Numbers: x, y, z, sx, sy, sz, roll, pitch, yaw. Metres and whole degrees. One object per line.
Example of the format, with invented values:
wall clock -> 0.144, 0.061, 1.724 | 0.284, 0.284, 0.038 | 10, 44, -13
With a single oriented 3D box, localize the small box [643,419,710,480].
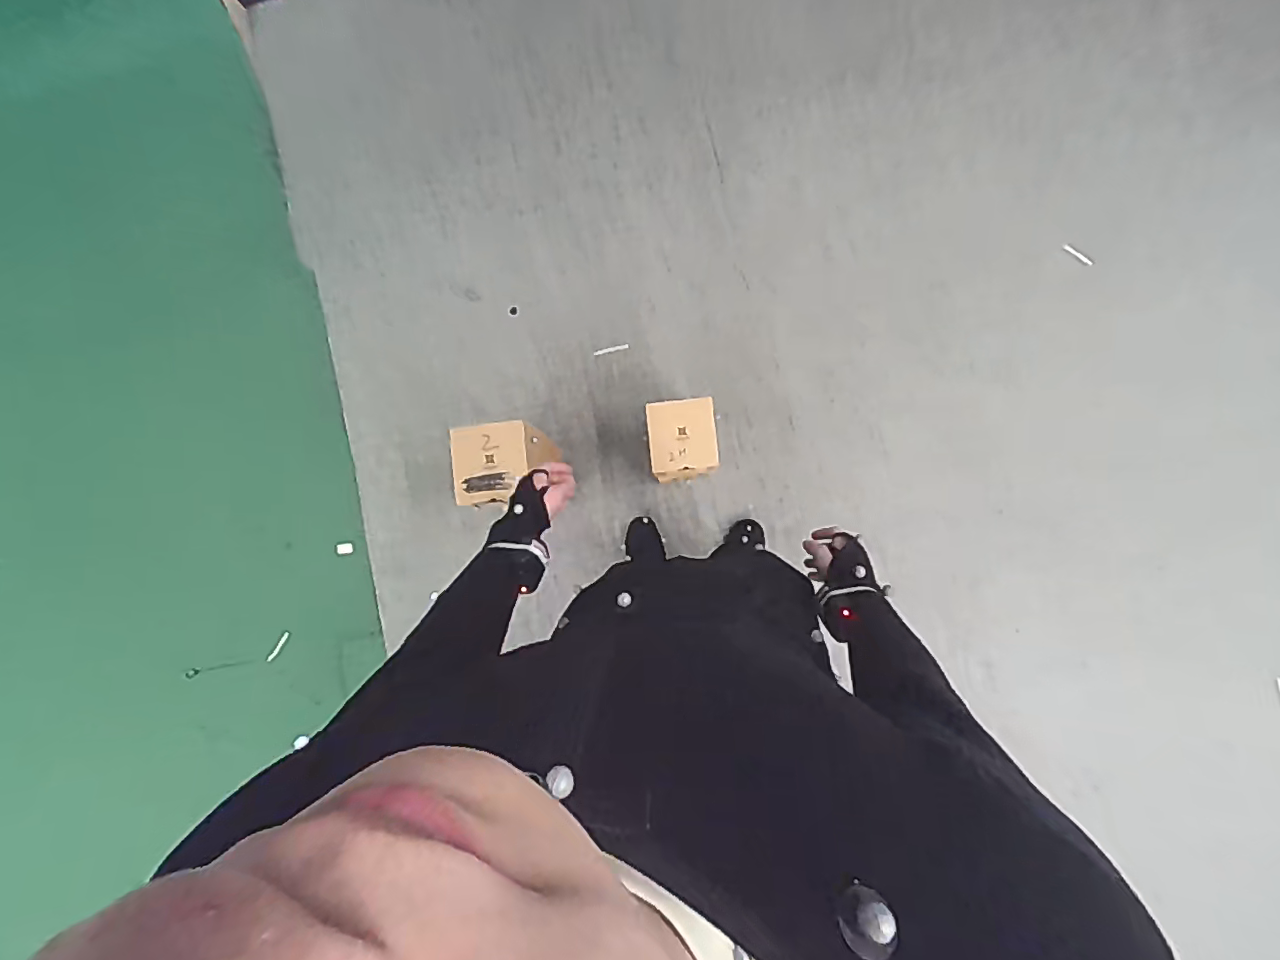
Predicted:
small box -> 0.105, -0.096, 1.555 | 0.168, 0.176, 0.179 | -10, 88, 2

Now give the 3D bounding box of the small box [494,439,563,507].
small box -> -0.325, -0.016, 1.572 | 0.168, 0.176, 0.179 | -7, 86, 2

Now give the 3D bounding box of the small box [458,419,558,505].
small box -> -0.338, -0.041, 1.418 | 0.179, 0.176, 0.168 | 25, 91, 4

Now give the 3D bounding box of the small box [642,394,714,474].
small box -> 0.095, -0.113, 1.391 | 0.168, 0.176, 0.179 | -5, 87, 3
